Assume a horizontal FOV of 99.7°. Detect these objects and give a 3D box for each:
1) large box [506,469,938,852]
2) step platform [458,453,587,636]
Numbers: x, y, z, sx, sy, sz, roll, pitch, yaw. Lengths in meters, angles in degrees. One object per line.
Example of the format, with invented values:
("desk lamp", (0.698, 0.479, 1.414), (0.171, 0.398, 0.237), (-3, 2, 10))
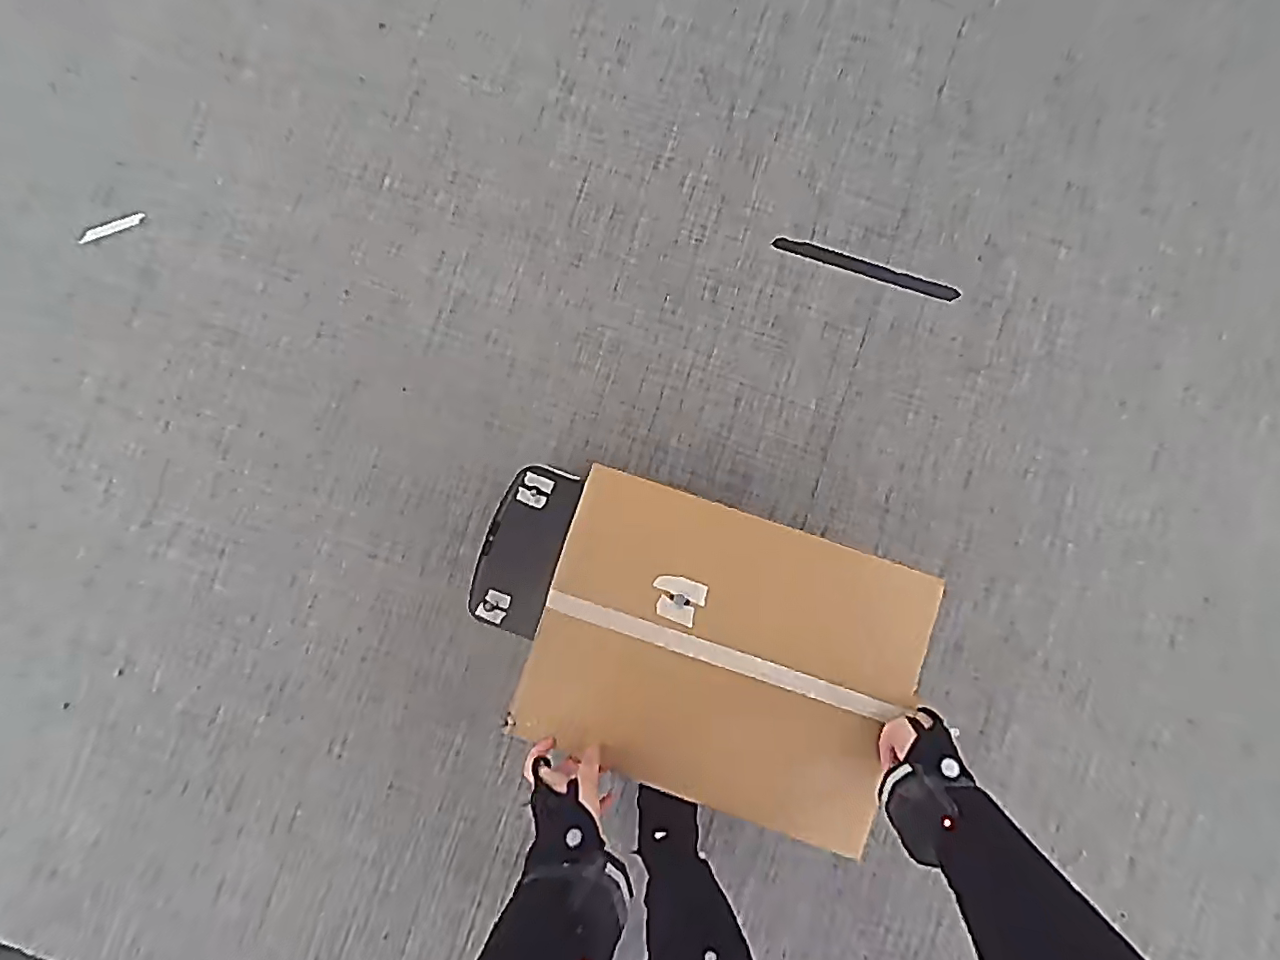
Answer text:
("large box", (0.095, 0.197, 0.729), (0.408, 0.320, 0.320), (18, 87, 3))
("step platform", (0.034, 0.208, 0.972), (0.684, 0.204, 0.286), (25, 87, 2))
